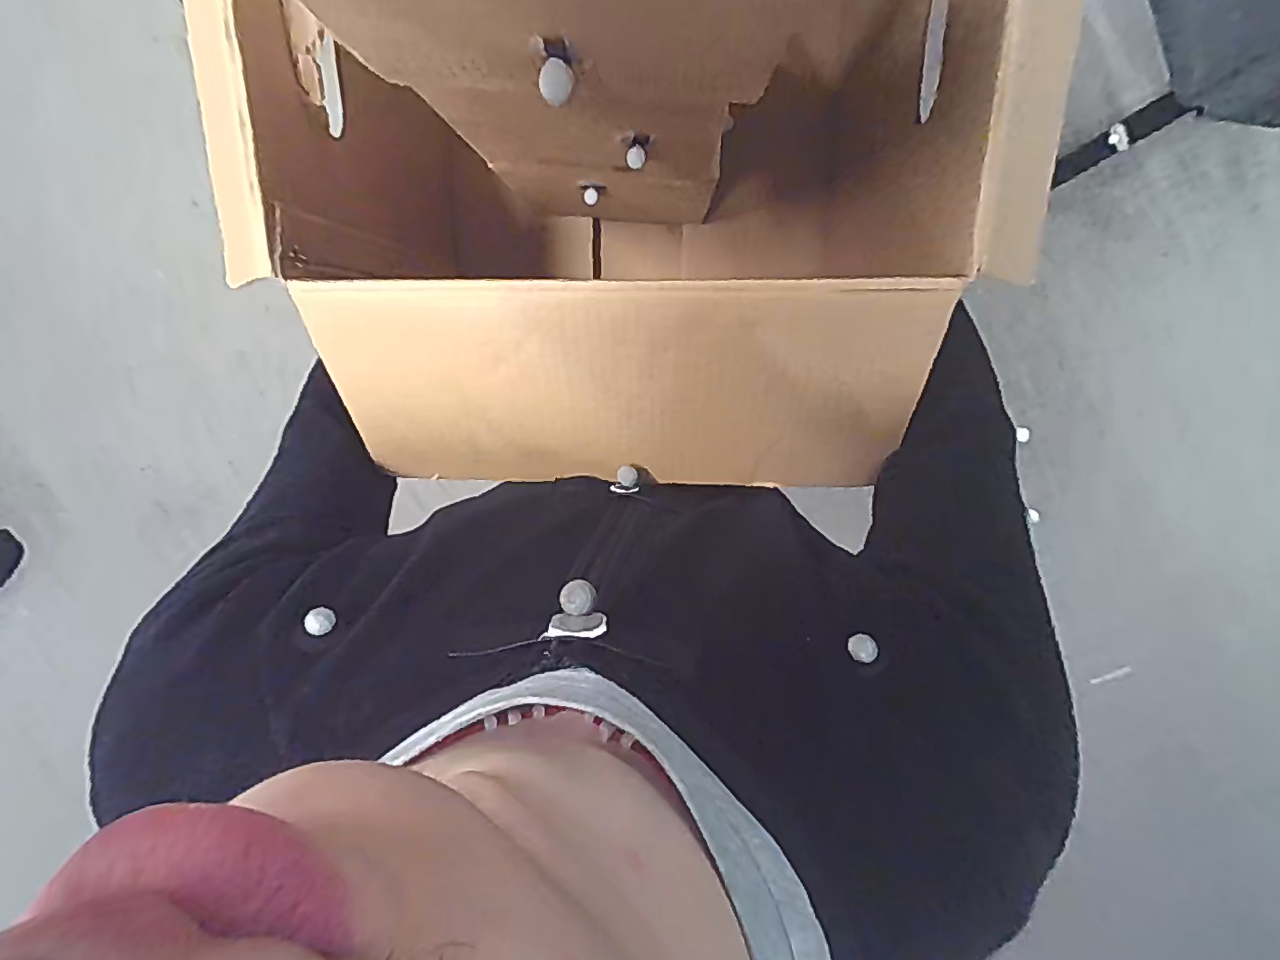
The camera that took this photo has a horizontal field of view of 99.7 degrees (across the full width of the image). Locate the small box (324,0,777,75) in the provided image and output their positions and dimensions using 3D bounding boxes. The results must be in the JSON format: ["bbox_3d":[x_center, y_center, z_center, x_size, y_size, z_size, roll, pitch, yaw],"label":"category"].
[{"bbox_3d":[-0.029,-0.237,0.140,0.179,0.176,0.168,3,106,0],"label":"small box"}]
